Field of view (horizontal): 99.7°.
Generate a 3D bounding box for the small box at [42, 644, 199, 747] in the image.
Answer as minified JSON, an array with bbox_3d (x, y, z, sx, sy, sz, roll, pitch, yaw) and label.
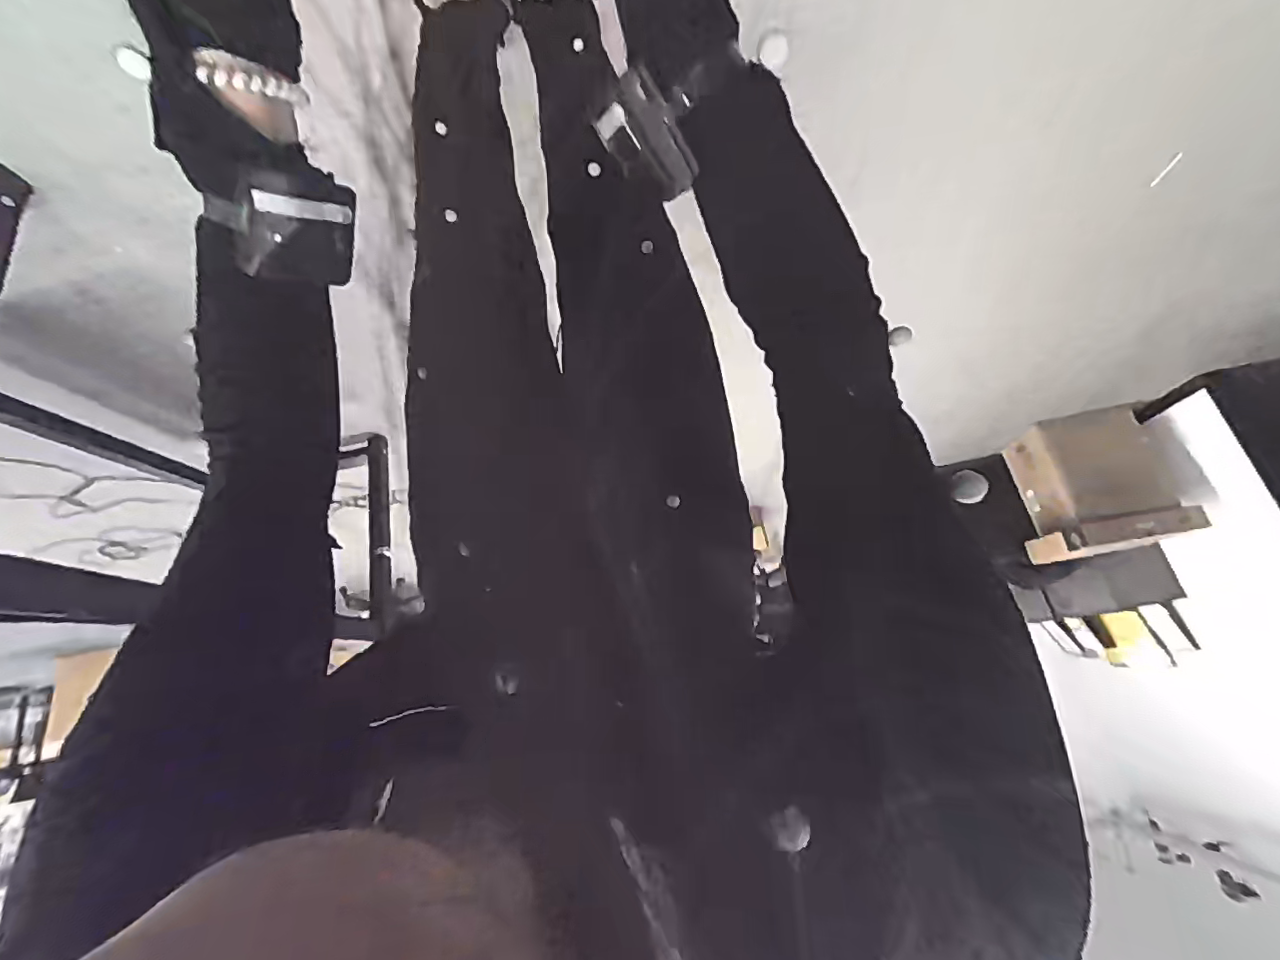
[{"bbox_3d":[-1.093,0.457,1.156,0.179,0.176,0.168,-13,160,4],"label":"small box"}]
